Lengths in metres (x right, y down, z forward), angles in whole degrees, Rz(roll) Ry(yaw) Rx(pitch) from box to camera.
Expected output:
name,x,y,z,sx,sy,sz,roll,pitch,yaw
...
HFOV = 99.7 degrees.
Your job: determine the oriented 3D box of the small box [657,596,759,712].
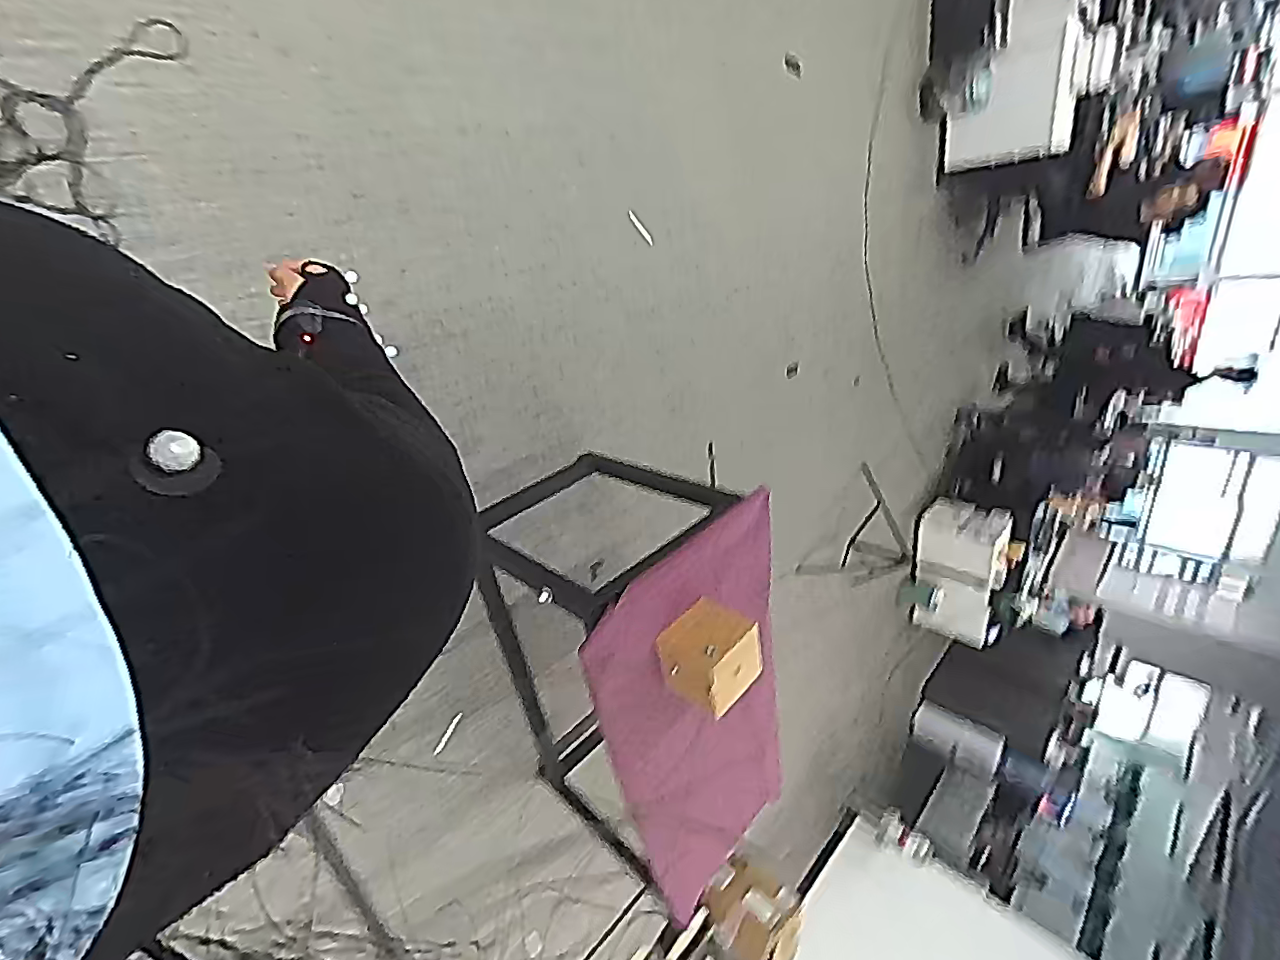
name,x,y,z,sx,sy,sz,roll,pitch,yaw
small box,0.166,0.410,1.309,0.179,0.176,0.168,-33,124,-33
